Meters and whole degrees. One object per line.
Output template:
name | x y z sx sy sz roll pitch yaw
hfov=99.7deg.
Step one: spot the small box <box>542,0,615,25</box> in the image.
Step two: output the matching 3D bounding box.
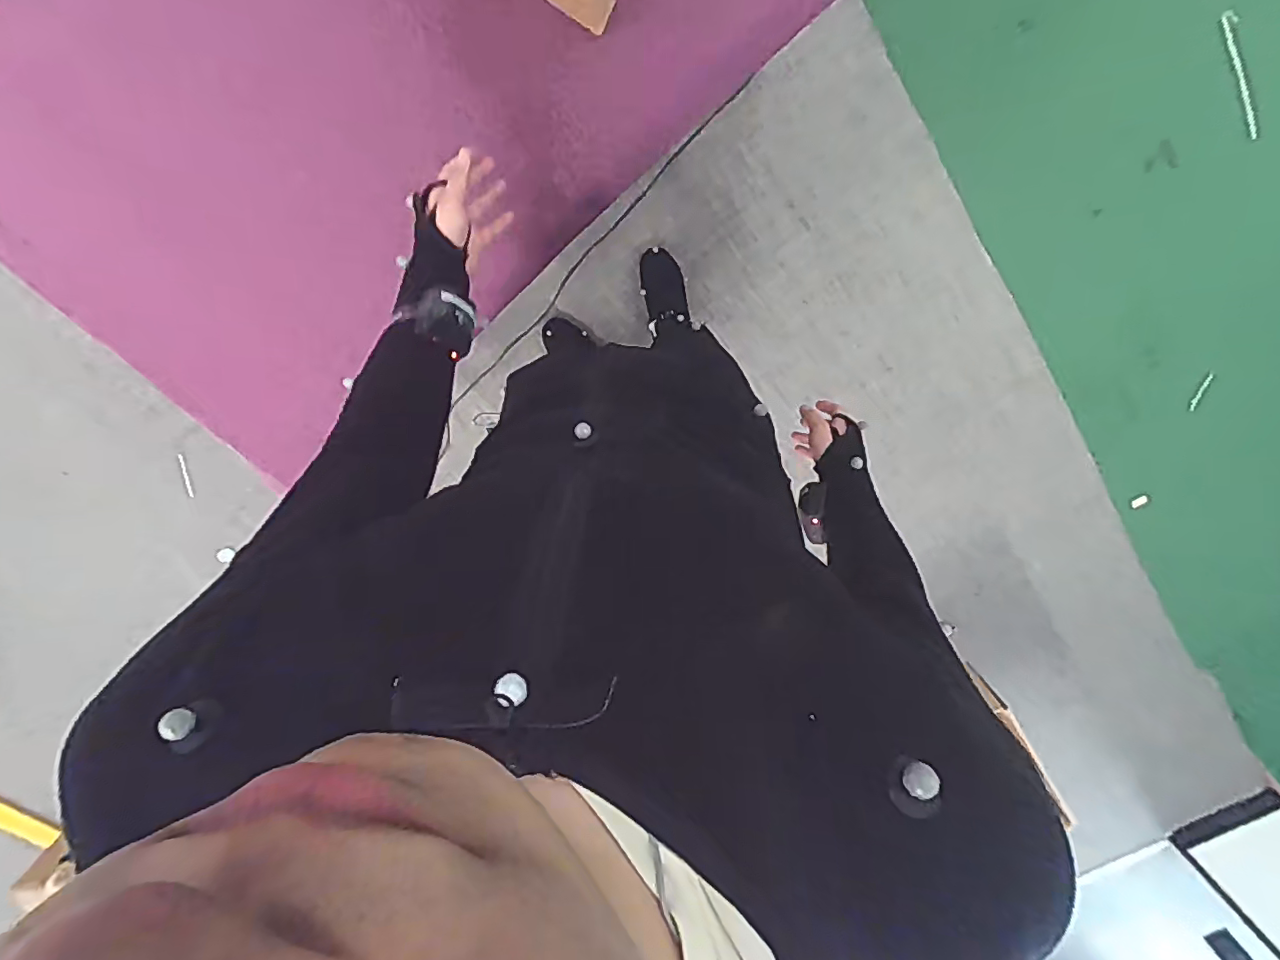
small box | -0.080 -0.609 0.544 0.179 0.176 0.168 27 111 -12
